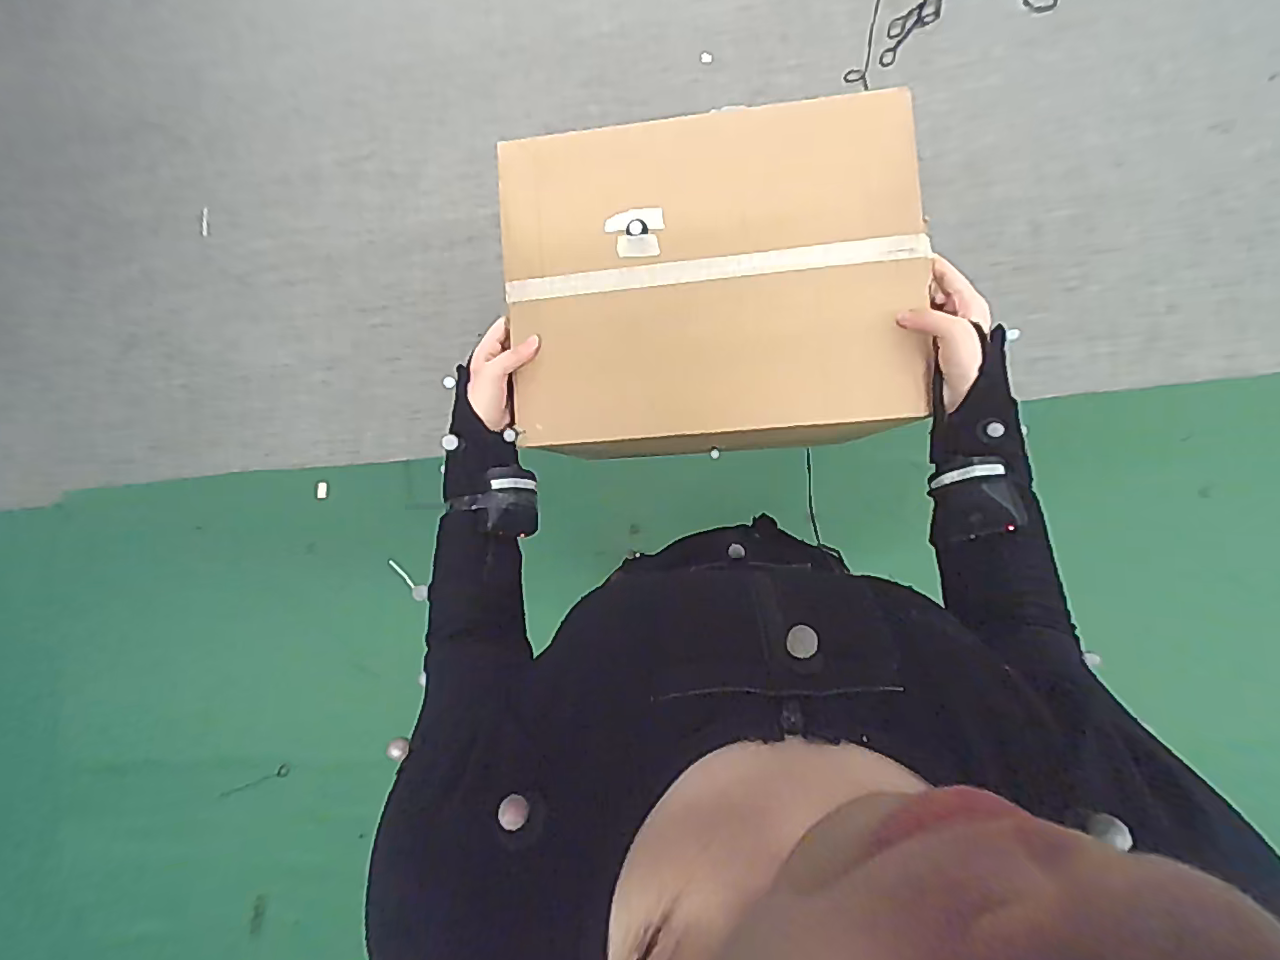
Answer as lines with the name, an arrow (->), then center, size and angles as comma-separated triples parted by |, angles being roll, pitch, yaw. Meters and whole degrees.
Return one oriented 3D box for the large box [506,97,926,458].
large box -> 0.086, -0.200, 0.688 | 0.408, 0.320, 0.320 | -4, 89, 8
